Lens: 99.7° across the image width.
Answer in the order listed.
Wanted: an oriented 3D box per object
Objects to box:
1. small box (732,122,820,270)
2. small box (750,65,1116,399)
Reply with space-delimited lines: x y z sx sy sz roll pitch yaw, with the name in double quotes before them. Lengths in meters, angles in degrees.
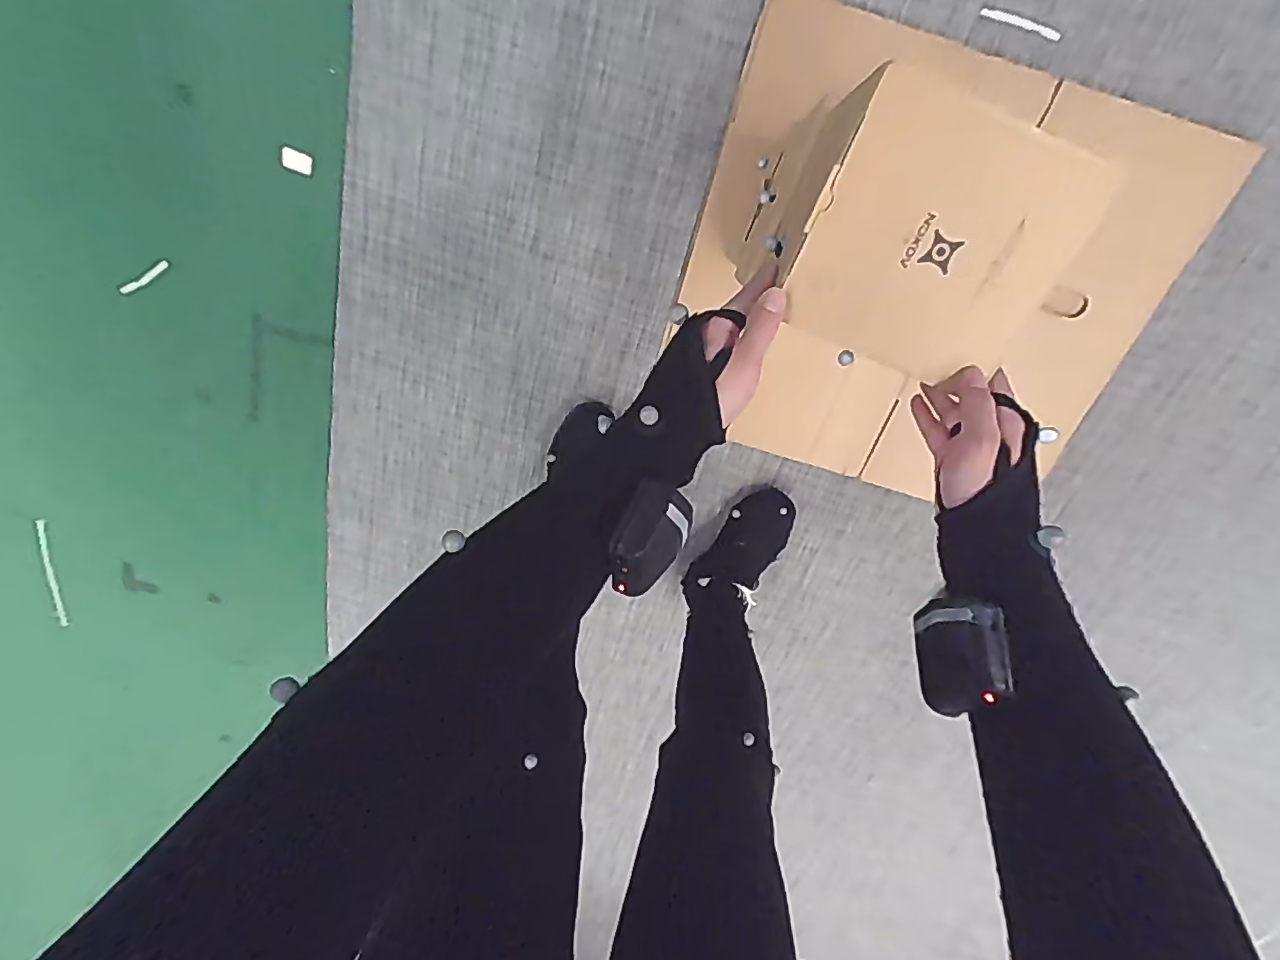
"small box" 0.235 -0.348 0.732 0.179 0.176 0.168 20 116 -4
"small box" 0.204 -0.192 0.445 0.179 0.176 0.168 22 116 -4
